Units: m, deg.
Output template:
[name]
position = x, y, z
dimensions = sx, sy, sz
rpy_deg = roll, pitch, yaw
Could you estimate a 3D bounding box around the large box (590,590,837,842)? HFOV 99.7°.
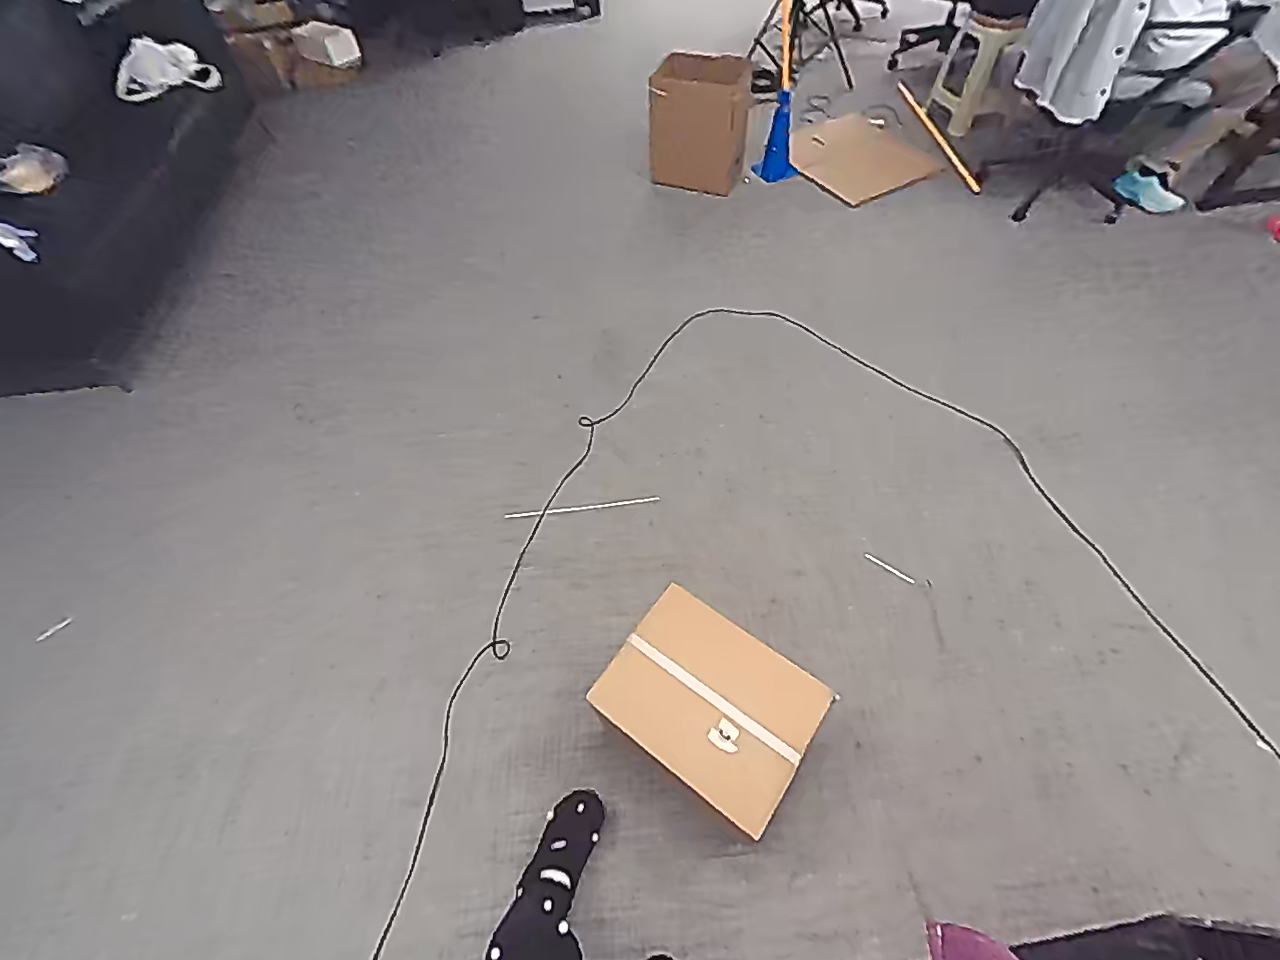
[large box]
position = 0.150, 0.522, 1.201
dimensions = 0.408, 0.320, 0.320
rpy_deg = 31, 64, 22
